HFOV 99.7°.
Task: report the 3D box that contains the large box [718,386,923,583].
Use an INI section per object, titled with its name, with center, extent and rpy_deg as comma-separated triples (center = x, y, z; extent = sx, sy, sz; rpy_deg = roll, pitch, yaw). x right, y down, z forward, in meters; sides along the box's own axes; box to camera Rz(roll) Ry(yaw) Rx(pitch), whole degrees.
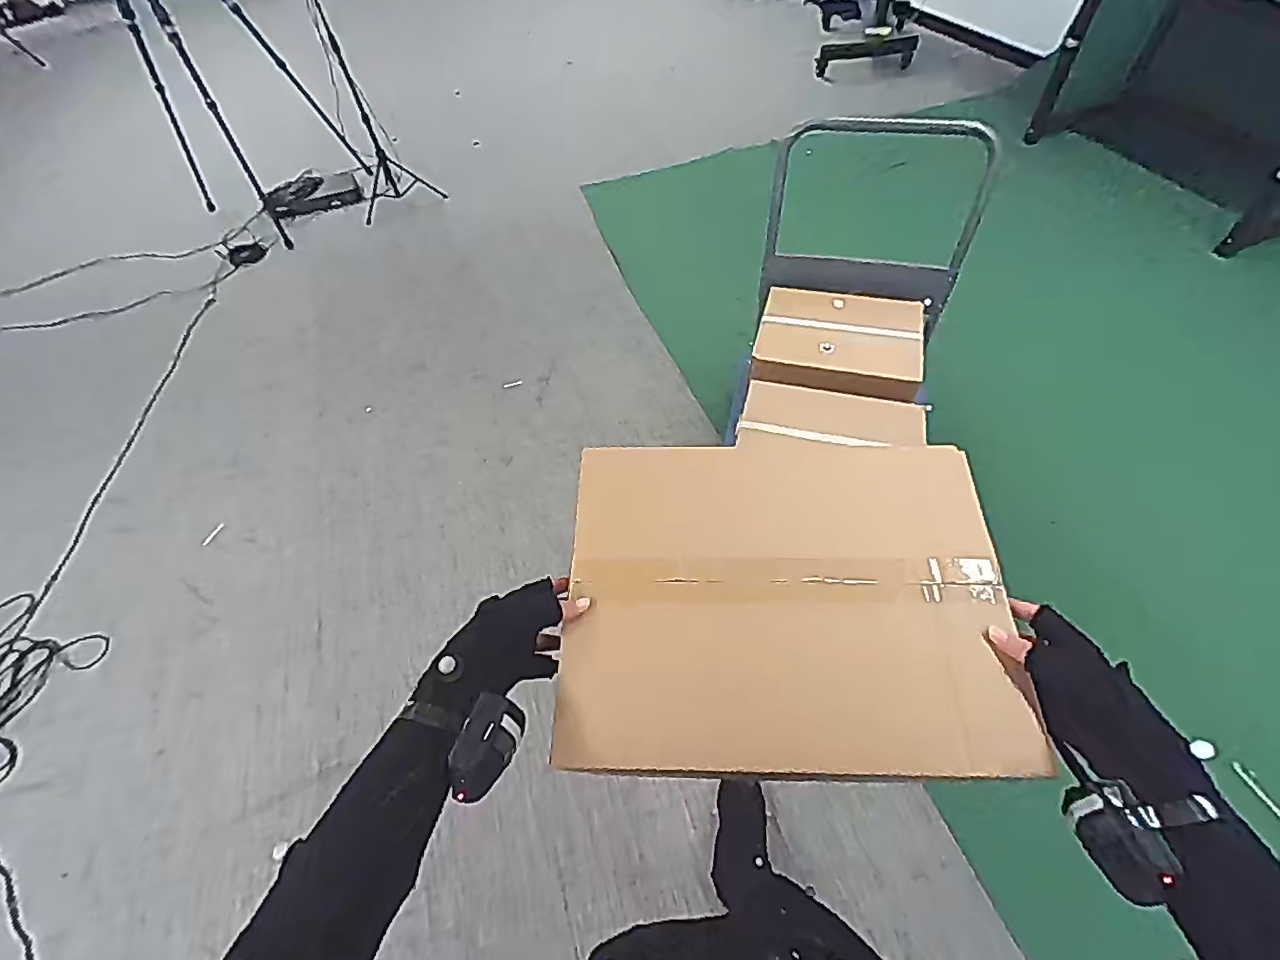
[large box]
center = 0.423, 0.011, 1.326
extent = 0.408, 0.320, 0.320
rpy_deg = 12, 54, 12
